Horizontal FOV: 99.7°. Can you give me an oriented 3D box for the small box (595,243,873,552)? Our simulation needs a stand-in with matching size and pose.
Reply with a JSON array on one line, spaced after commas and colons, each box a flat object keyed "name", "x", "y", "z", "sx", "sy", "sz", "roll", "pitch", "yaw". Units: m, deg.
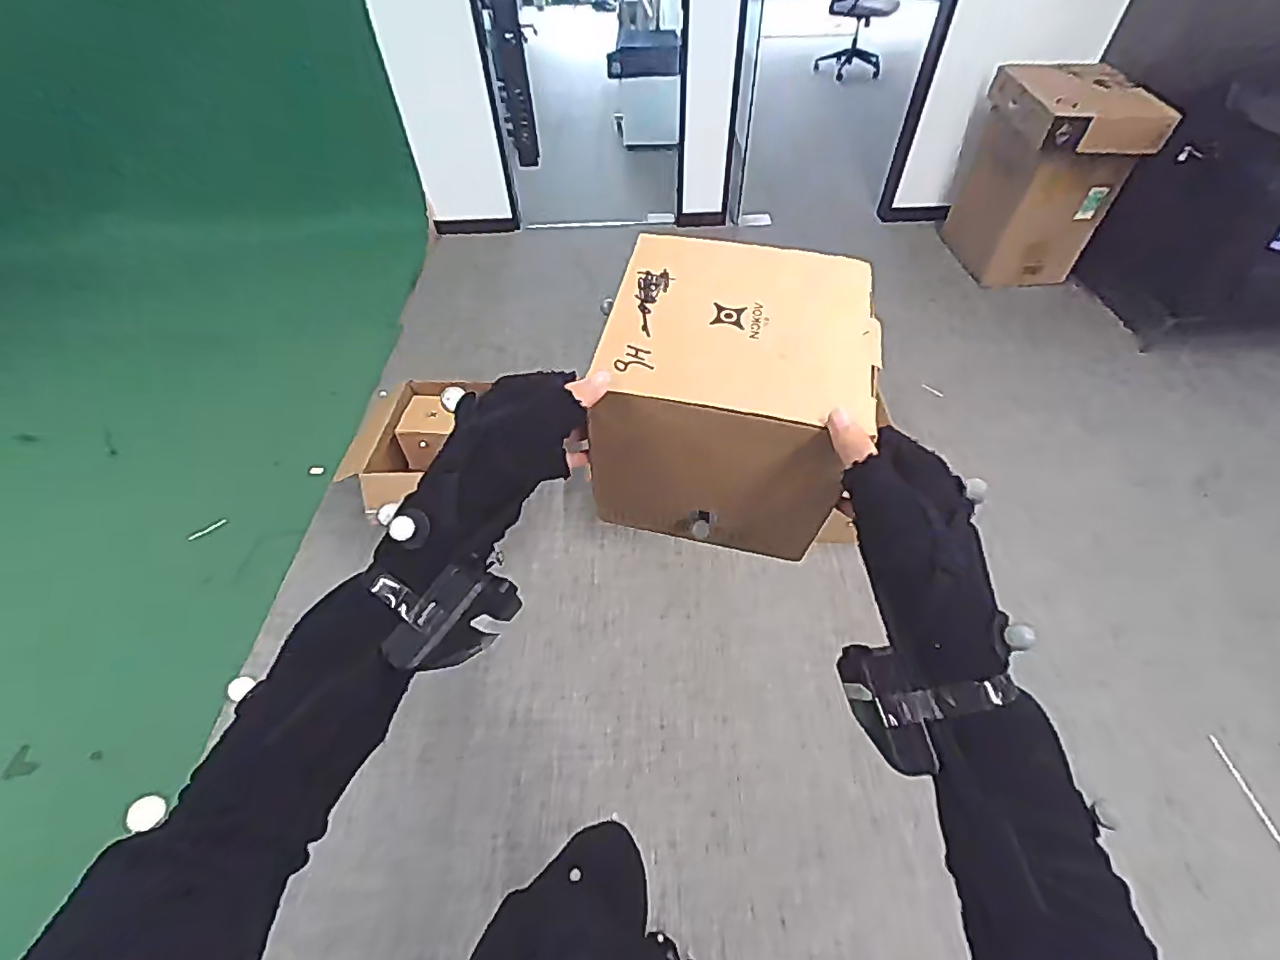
[{"name": "small box", "x": 0.069, "y": -0.058, "z": 0.441, "sx": 0.179, "sy": 0.176, "sz": 0.168, "roll": 12, "pitch": 56, "yaw": 5}]

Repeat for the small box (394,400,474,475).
[{"name": "small box", "x": -0.642, "y": -0.131, "z": 1.711, "sx": 0.179, "sy": 0.176, "sz": 0.168, "roll": 4, "pitch": 48, "yaw": 2}]
